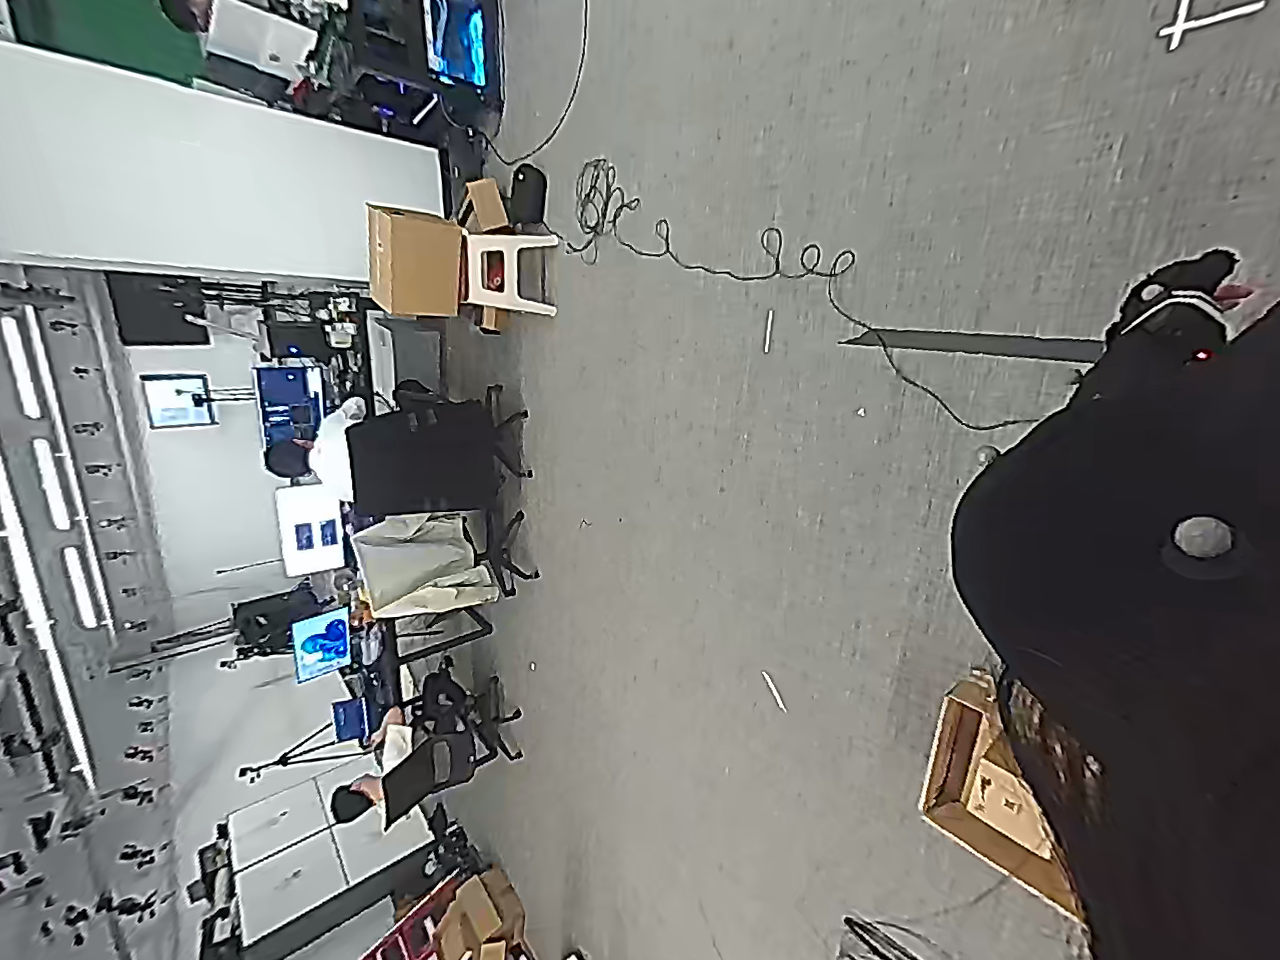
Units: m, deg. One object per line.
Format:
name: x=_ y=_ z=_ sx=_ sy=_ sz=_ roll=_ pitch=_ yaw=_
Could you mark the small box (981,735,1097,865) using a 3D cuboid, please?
small box: x=0.957 y=0.752 z=1.295 sx=0.179 sy=0.176 sz=0.168 roll=20 pitch=113 yaw=45
